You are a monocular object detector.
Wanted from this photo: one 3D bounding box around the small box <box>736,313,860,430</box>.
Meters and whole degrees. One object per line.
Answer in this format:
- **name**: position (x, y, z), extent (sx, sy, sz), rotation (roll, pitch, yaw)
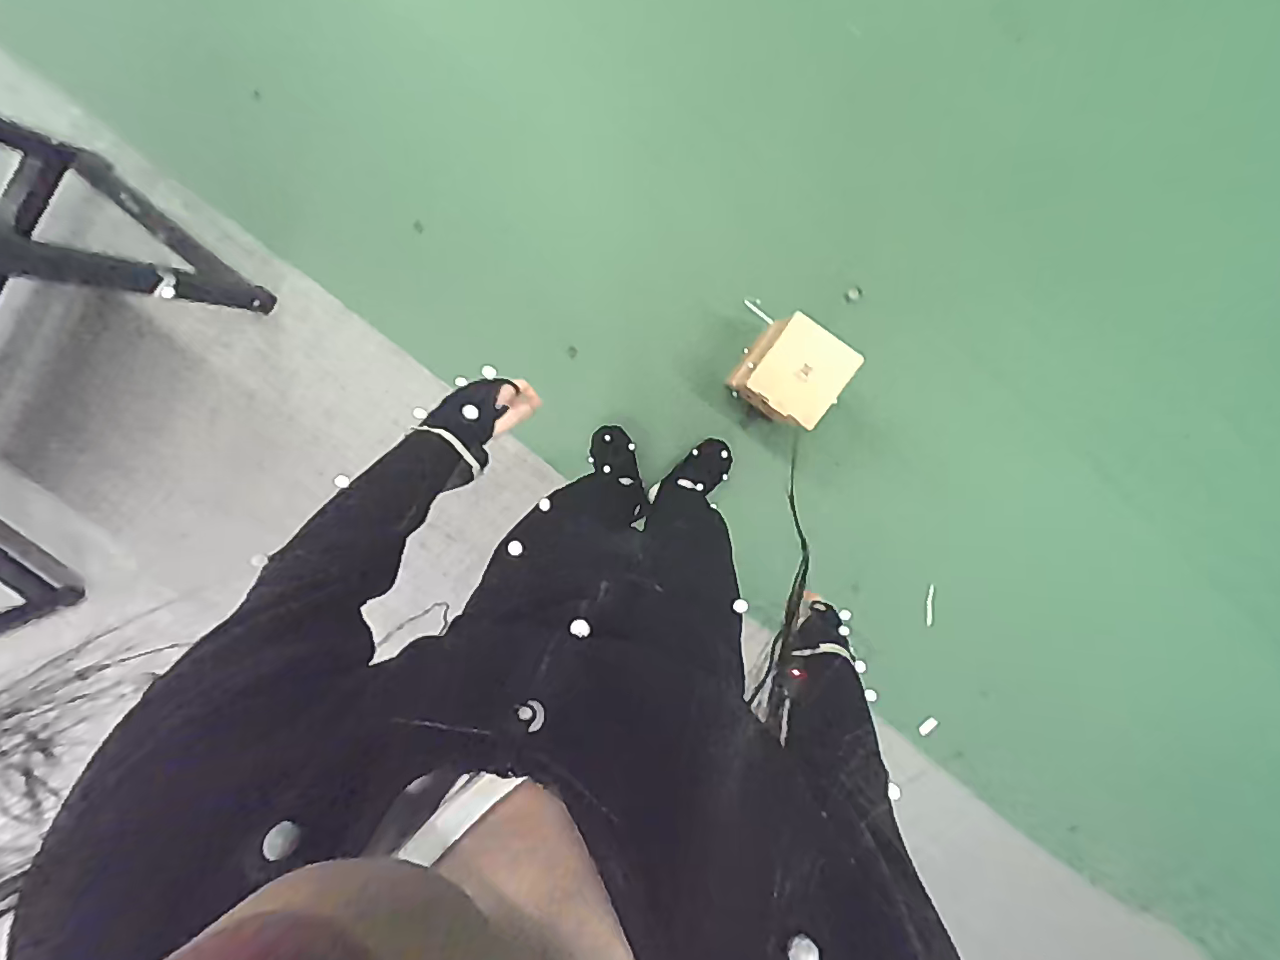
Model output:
- **small box**: position (0.323, -0.230, 1.153), extent (0.168, 0.176, 0.179), rotation (34, 101, -4)
